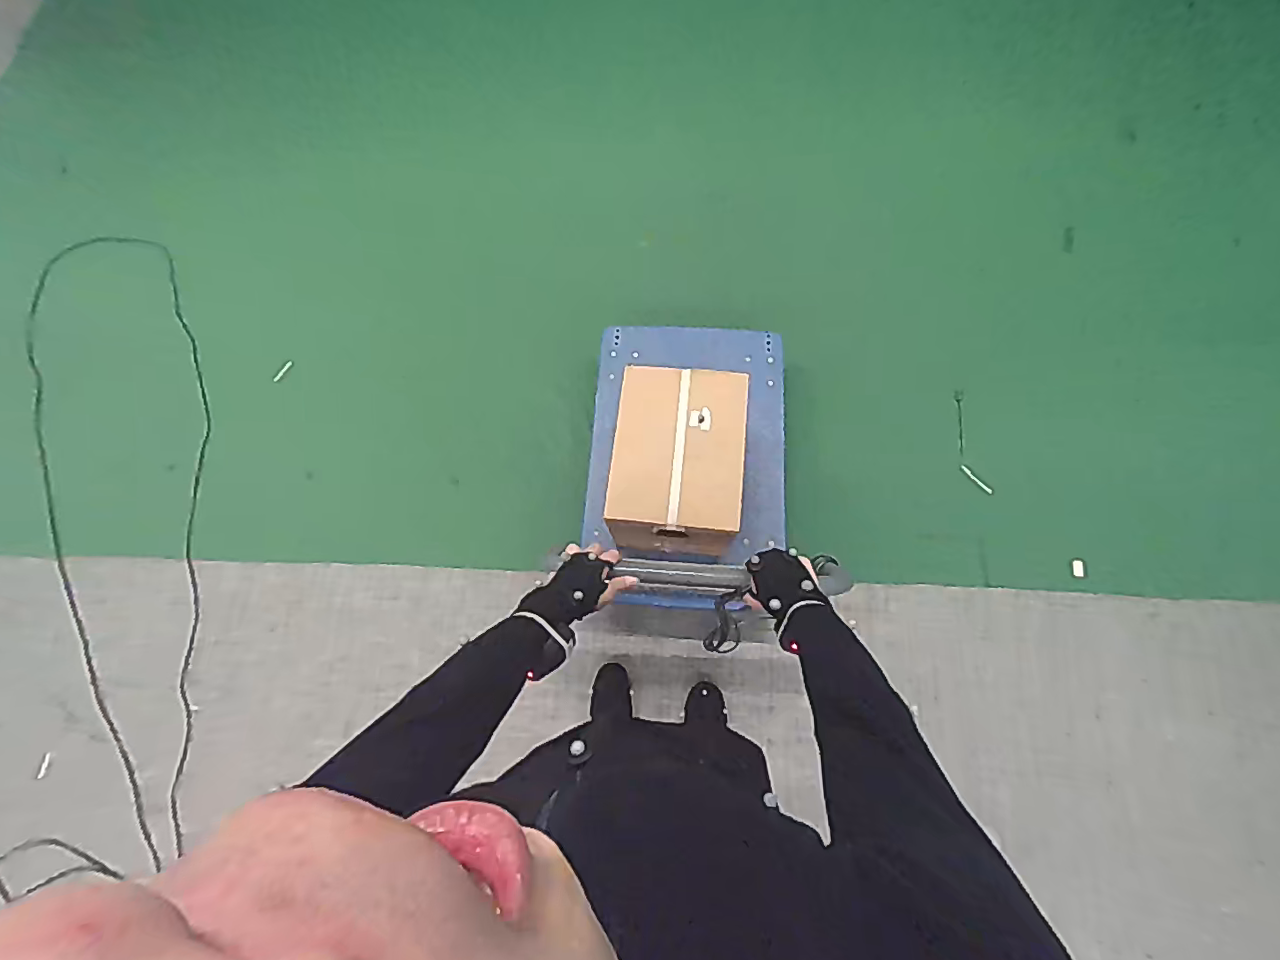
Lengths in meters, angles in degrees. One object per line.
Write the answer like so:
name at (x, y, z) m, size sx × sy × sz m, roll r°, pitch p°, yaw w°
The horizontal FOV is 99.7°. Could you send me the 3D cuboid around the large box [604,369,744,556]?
large box at (0.095, -0.033, 1.431) m, size 0.320 × 0.320 × 0.408 m, roll 6°, pitch 71°, yaw 4°
